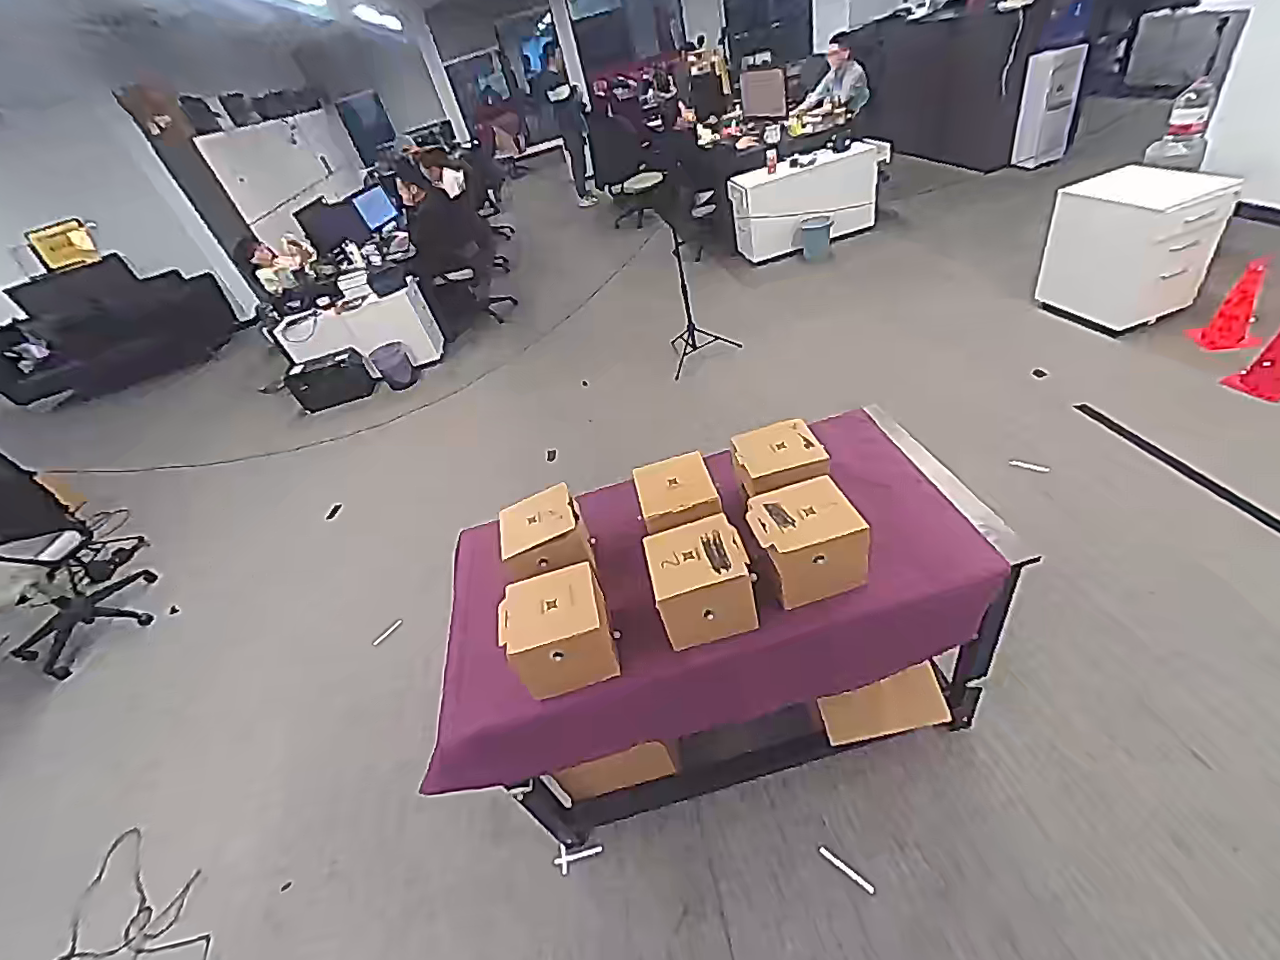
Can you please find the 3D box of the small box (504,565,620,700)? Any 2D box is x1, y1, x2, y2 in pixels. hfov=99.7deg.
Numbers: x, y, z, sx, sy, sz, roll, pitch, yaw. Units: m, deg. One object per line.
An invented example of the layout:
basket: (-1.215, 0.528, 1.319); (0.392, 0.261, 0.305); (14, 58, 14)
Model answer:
small box: (-0.153, 0.301, 1.059); (0.179, 0.176, 0.168); (-17, 39, -1)

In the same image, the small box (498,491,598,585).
small box: (-0.212, 0.160, 1.246); (0.179, 0.176, 0.168); (-18, 39, -2)
